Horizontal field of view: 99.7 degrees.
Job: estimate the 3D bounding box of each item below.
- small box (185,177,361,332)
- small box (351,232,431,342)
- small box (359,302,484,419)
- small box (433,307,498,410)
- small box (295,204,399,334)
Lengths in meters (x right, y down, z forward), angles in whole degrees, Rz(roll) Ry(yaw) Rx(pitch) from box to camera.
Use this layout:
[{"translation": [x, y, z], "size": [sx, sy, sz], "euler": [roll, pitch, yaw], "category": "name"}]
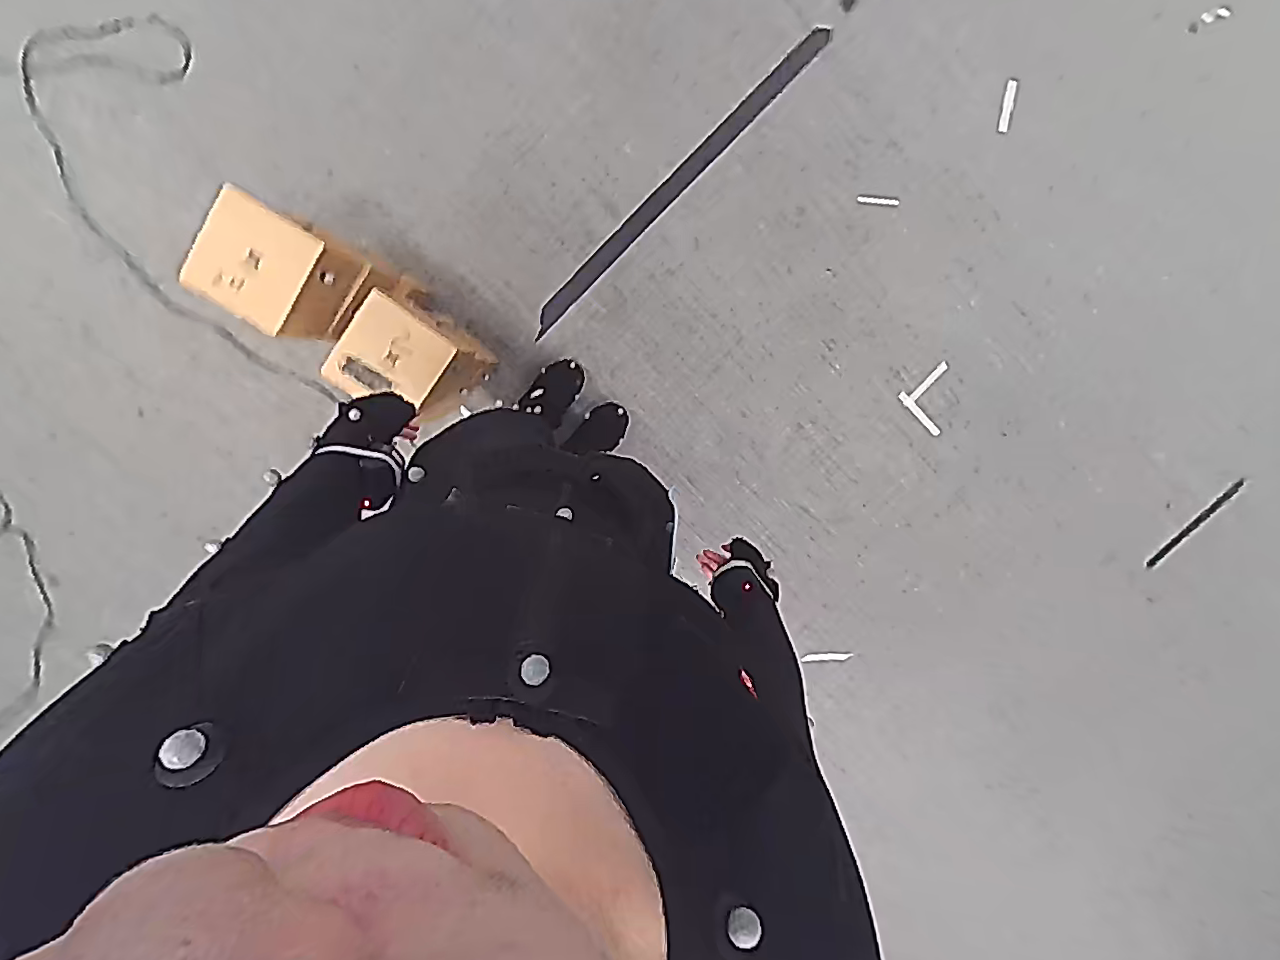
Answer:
[{"translation": [-0.622, -0.379, 0.945], "size": [0.168, 0.176, 0.179], "euler": [32, 98, -11], "category": "small box"}, {"translation": [-0.620, -0.442, 1.270], "size": [0.168, 0.176, 0.179], "euler": [35, 97, -12], "category": "small box"}, {"translation": [-0.456, -0.255, 1.162], "size": [0.168, 0.176, 0.179], "euler": [38, 96, -12], "category": "small box"}, {"translation": [-0.467, -0.296, 1.320], "size": [0.168, 0.176, 0.179], "euler": [42, 97, -12], "category": "small box"}, {"translation": [-0.628, -0.416, 1.106], "size": [0.168, 0.176, 0.179], "euler": [36, 97, -12], "category": "small box"}]
